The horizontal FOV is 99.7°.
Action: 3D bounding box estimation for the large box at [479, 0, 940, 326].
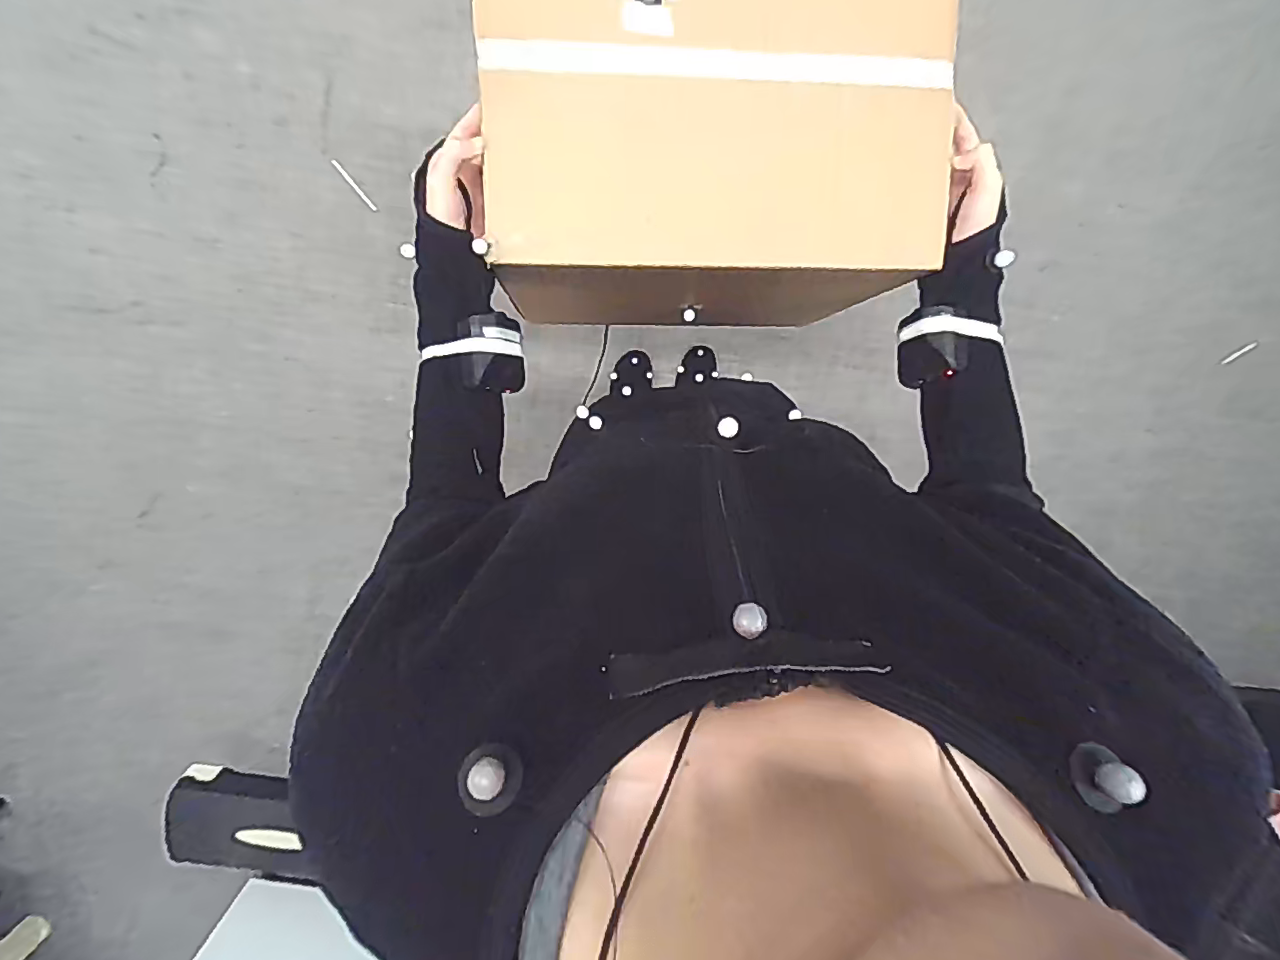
[{"bbox_3d":[0.055,-0.354,0.614,0.408,0.320,0.320,-1,96,-5],"label":"large box"}]
